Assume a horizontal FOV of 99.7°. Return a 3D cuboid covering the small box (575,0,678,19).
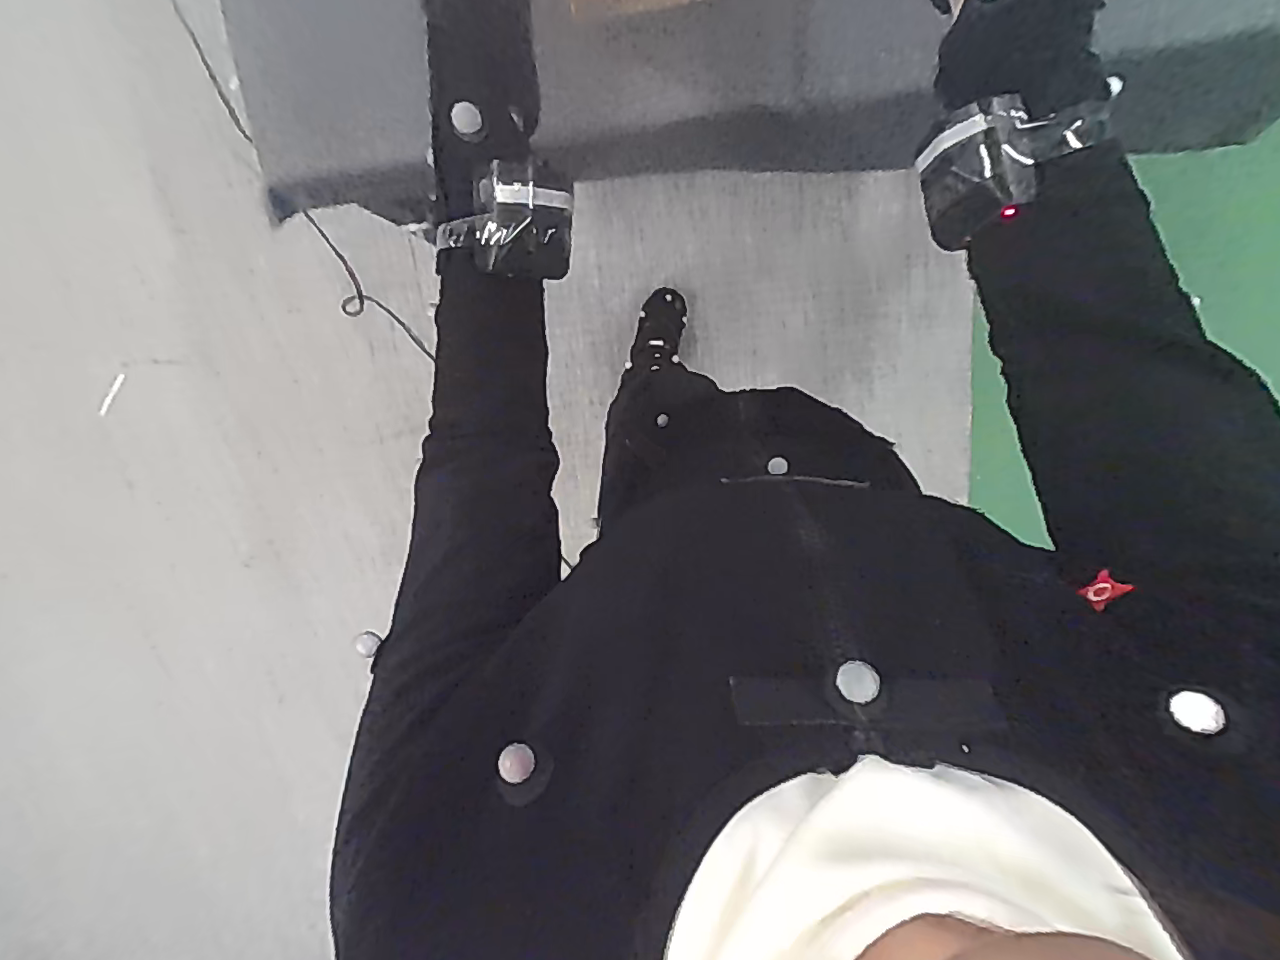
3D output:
[{"bbox_3d":[0.004,-0.569,0.484,0.179,0.176,0.168,-11,102,4],"label":"small box"}]
